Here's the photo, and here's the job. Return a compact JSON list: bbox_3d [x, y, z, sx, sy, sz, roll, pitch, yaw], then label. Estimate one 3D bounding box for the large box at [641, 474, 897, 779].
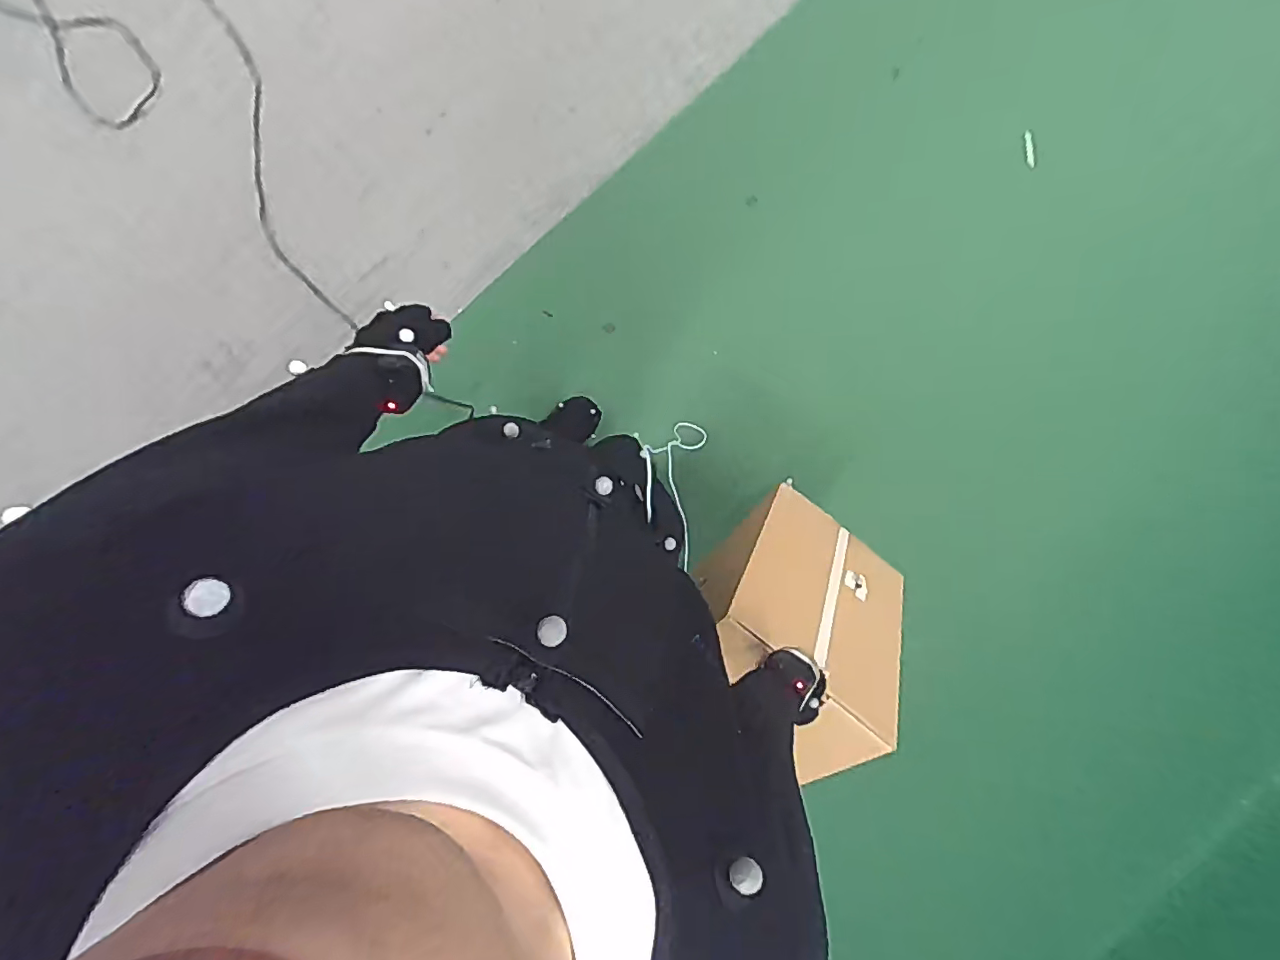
[{"bbox_3d":[0.258,0.270,1.042,0.320,0.408,0.320,39,128,0],"label":"large box"}]
